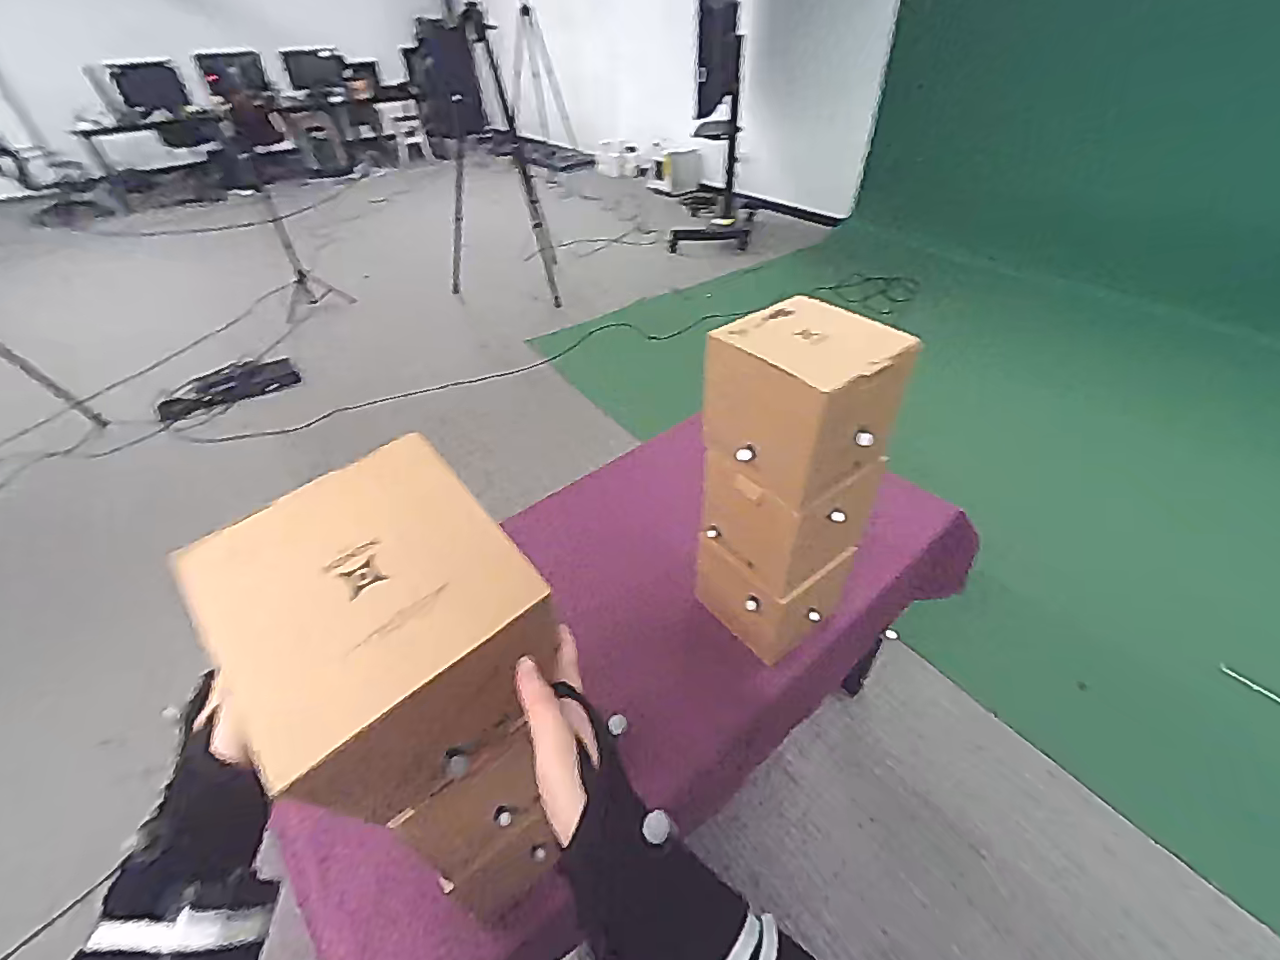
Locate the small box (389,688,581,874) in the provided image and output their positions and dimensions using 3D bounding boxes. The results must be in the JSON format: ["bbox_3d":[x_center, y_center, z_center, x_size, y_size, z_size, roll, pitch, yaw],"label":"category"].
[{"bbox_3d":[-0.178,0.250,0.551,0.168,0.176,0.179,-30,49,-28],"label":"small box"}]

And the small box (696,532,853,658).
[{"bbox_3d":[0.209,0.162,0.882,0.168,0.176,0.179,-28,47,-27],"label":"small box"}]

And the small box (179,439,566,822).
[{"bbox_3d":[-0.170,0.110,0.390,0.168,0.176,0.179,-34,63,-26],"label":"small box"}]

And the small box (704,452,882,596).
[{"bbox_3d":[0.208,0.034,0.779,0.179,0.176,0.168,-26,47,-26],"label":"small box"}]

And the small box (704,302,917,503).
[{"bbox_3d":[0.198,-0.093,0.674,0.168,0.176,0.179,-27,48,-26],"label":"small box"}]
